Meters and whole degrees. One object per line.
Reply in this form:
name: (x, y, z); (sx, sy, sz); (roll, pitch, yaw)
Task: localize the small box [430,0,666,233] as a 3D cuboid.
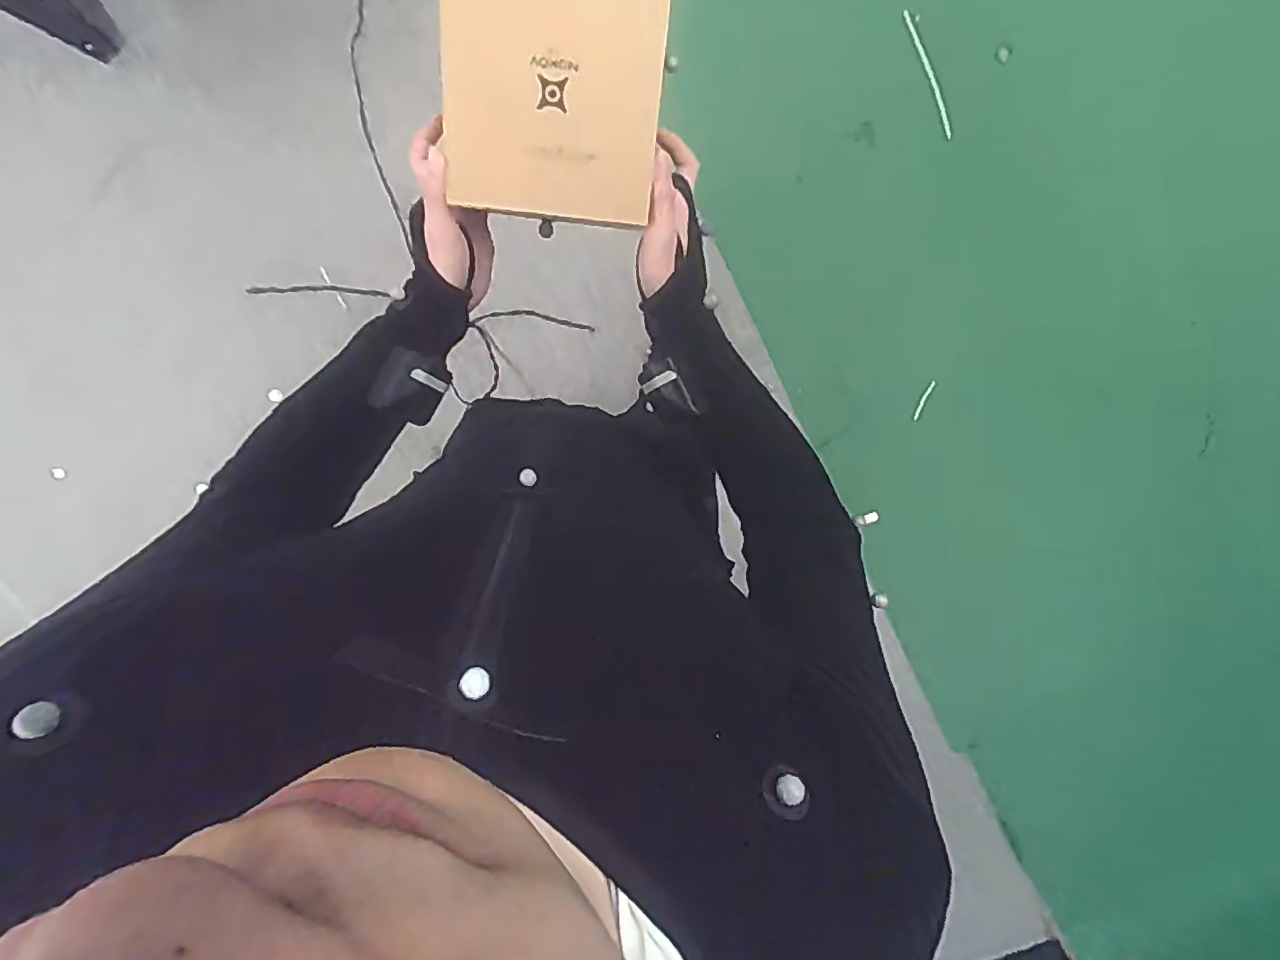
small box: (-0.072, -0.320, 0.469); (0.168, 0.176, 0.179); (5, 113, -3)
